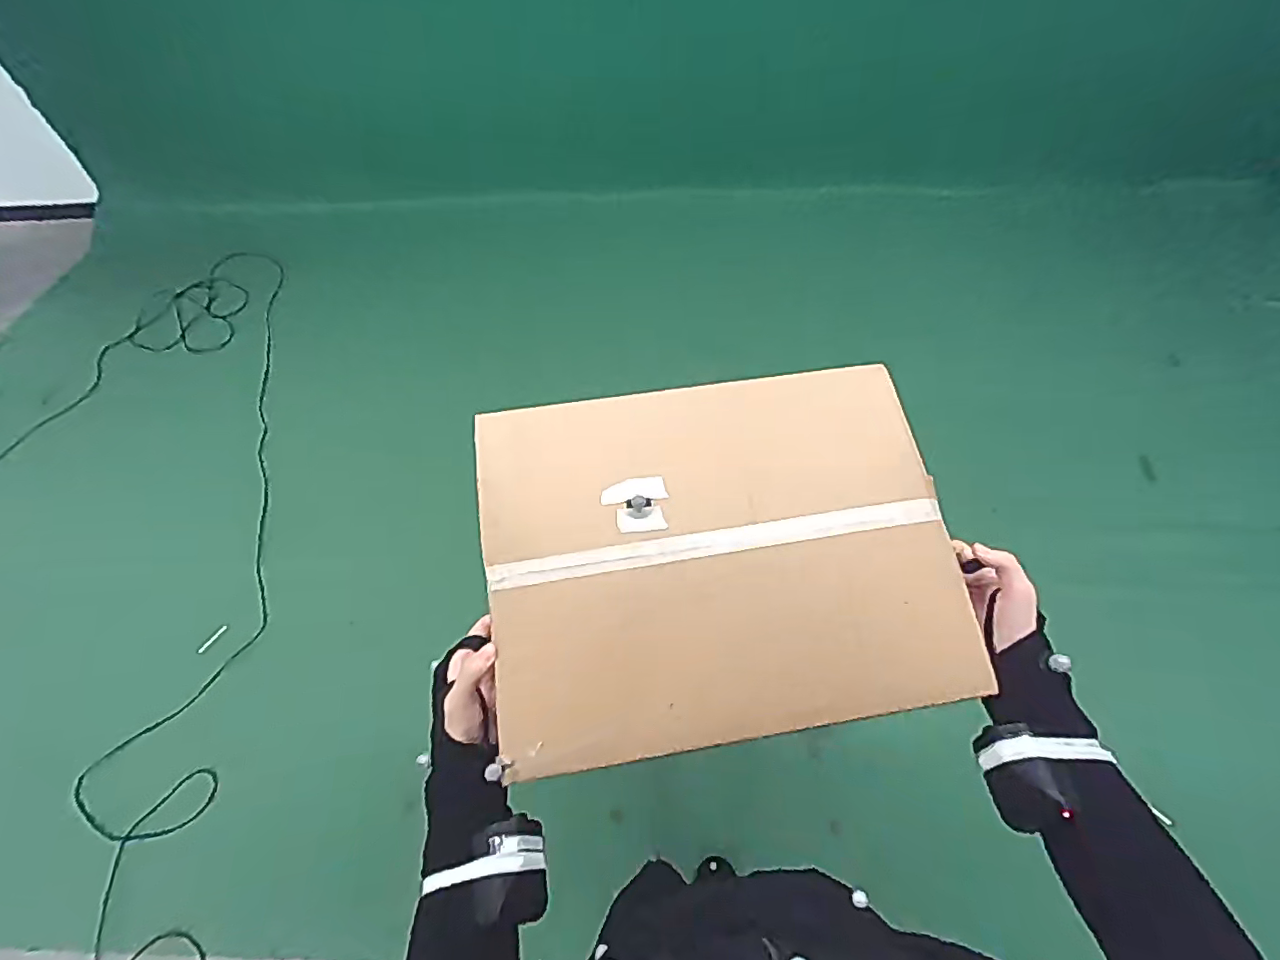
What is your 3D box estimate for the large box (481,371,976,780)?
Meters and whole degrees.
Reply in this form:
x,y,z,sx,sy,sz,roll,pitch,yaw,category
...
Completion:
x,y,z,sx,sy,sz,roll,pitch,yaw,category
0.066,0.108,0.629,0.408,0.320,0.320,-9,72,-4,large box
